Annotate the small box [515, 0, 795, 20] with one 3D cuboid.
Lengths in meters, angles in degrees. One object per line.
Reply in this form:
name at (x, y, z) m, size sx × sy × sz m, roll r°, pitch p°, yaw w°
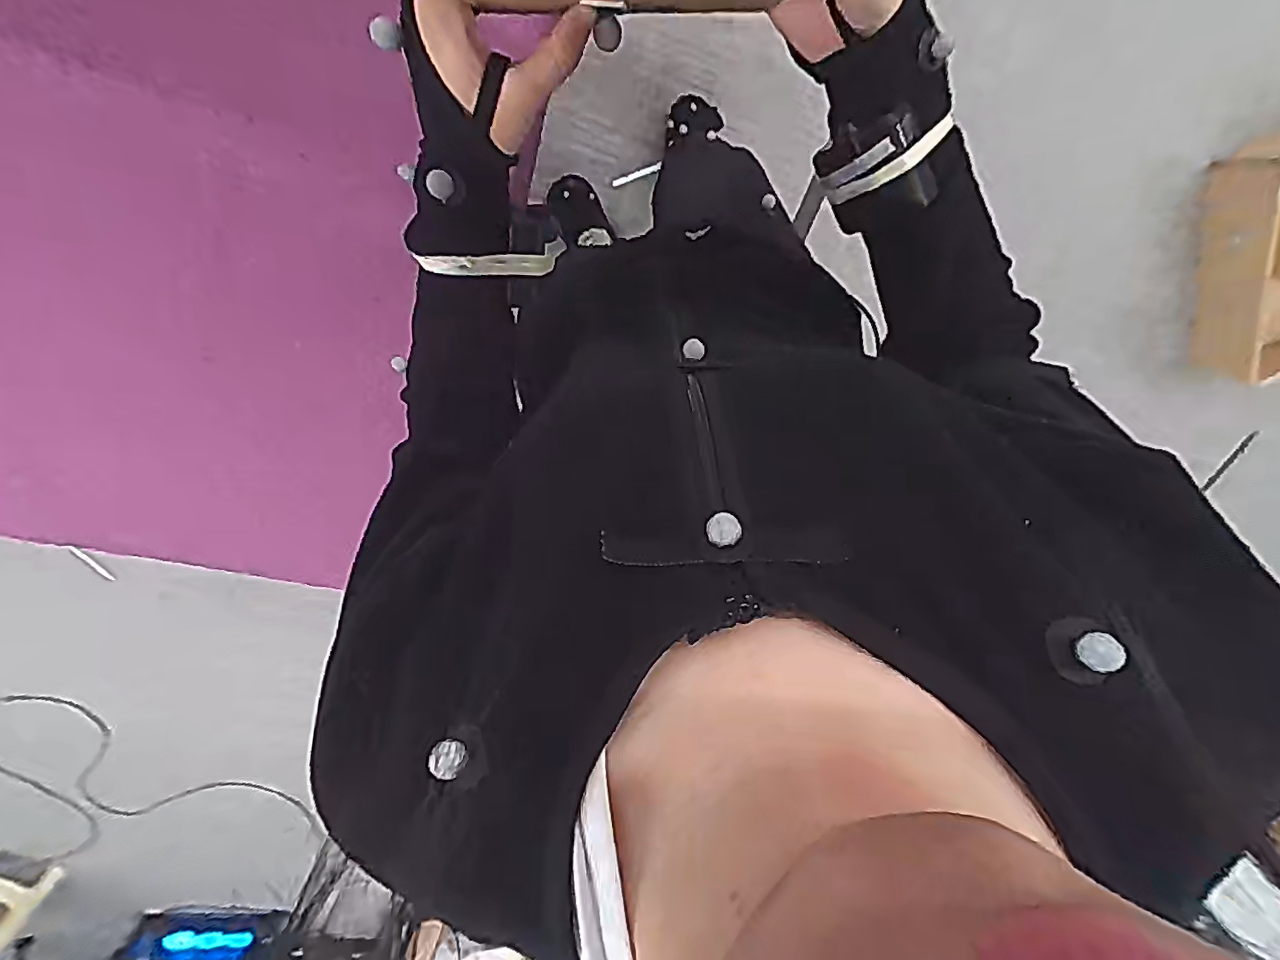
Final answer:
small box at (0.003, -0.298, 0.203) m, size 0.168 × 0.176 × 0.179 m, roll -1°, pitch 126°, yaw -1°
